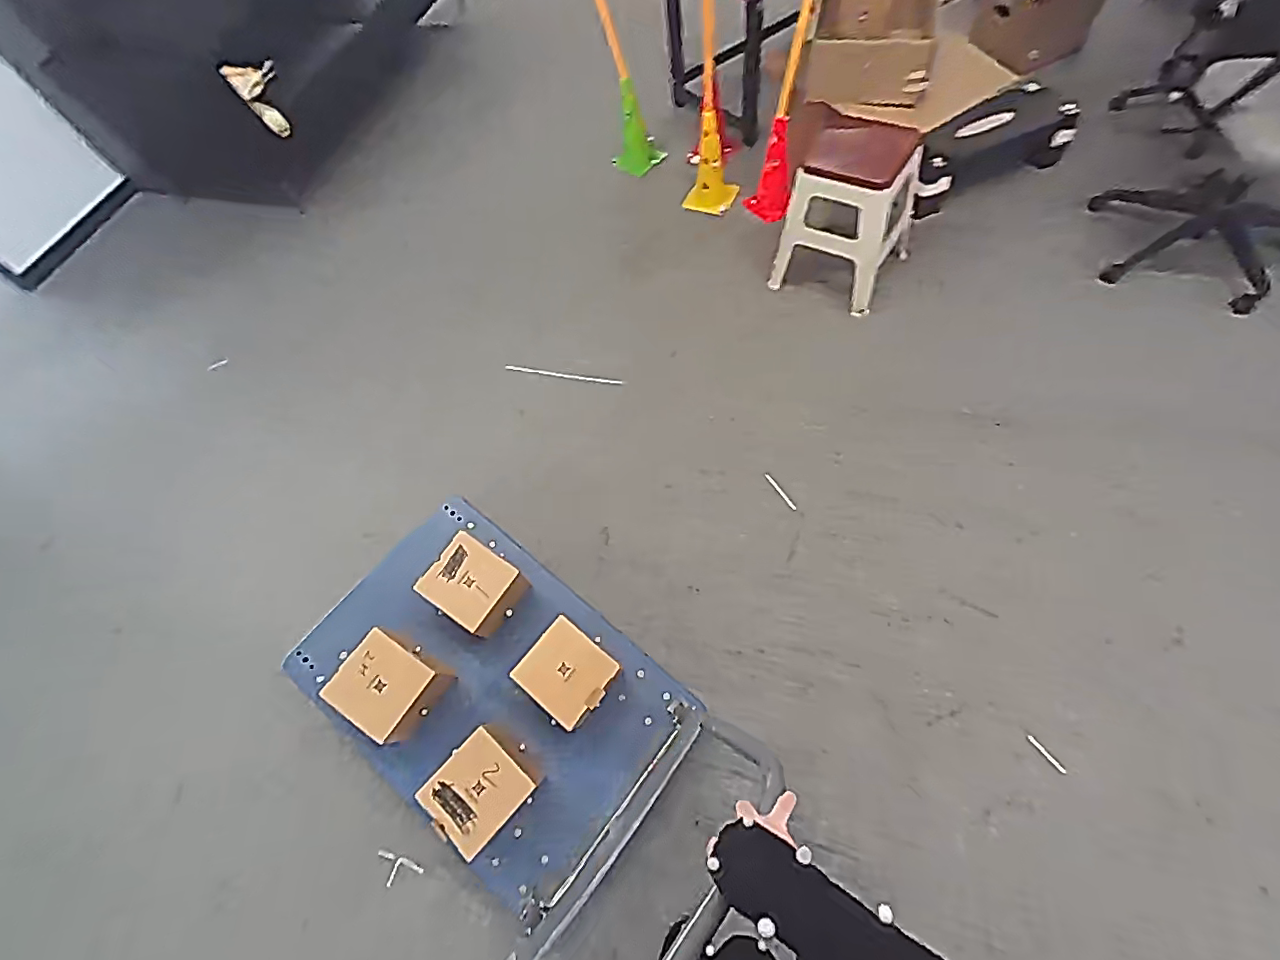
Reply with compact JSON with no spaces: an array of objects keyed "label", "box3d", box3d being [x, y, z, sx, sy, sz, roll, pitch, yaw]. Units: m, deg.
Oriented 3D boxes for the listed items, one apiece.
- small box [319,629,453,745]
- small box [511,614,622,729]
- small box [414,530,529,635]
[{"label":"small box","box3d":[-0.545,0.450,1.189,0.179,0.176,0.168,32,70,10]},{"label":"small box","box3d":[-0.159,0.429,1.212,0.179,0.176,0.168,38,72,11]},{"label":"small box","box3d":[-0.387,0.249,1.272,0.179,0.176,0.168,33,72,10]}]
